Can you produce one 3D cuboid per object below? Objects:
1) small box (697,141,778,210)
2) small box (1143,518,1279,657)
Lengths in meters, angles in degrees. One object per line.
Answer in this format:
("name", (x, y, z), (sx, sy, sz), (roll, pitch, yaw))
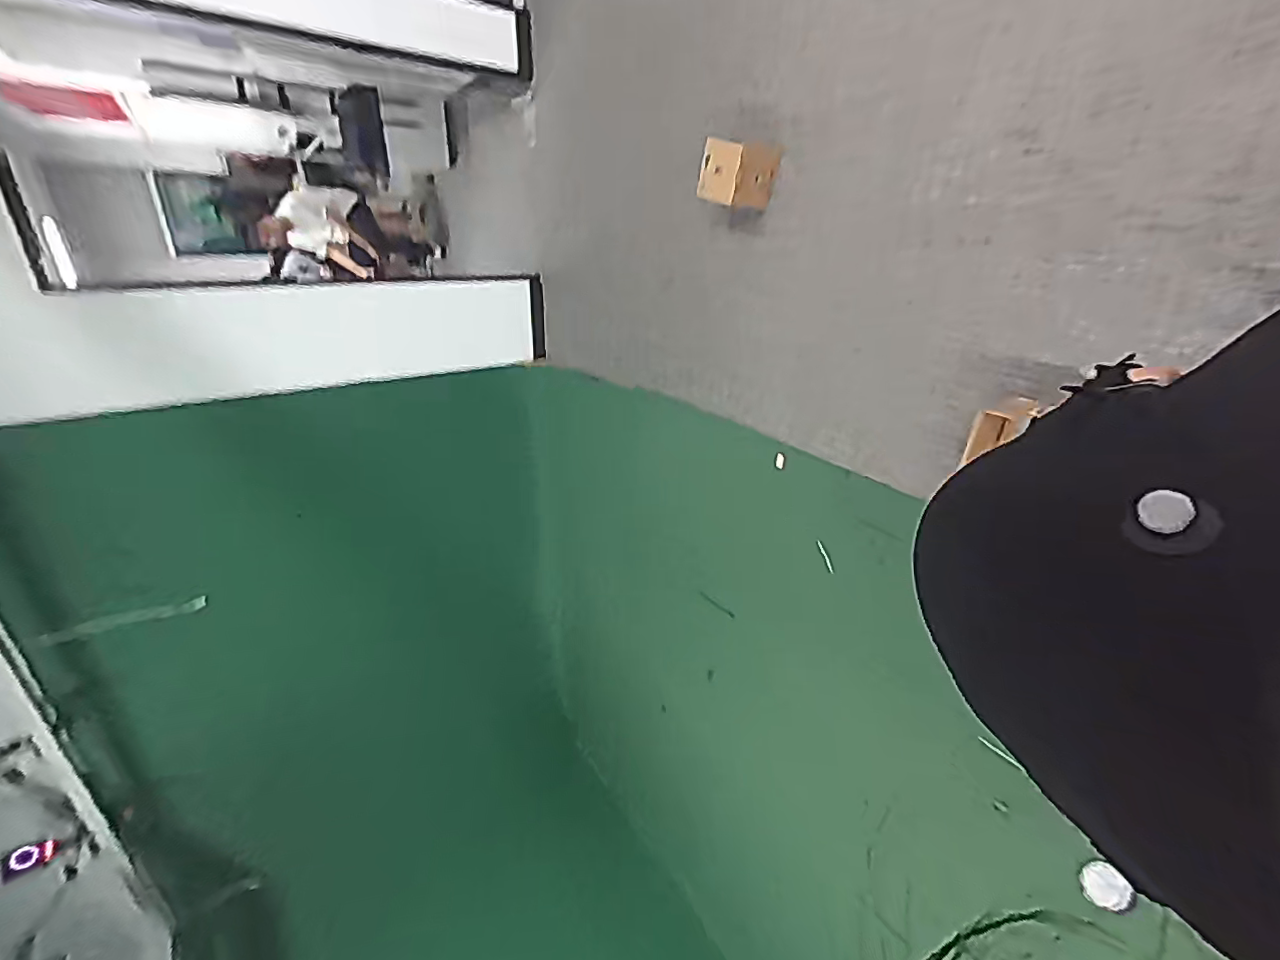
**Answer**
("small box", (0.316, -0.979, 1.743), (0.179, 0.176, 0.168), (43, 135, 38))
("small box", (1.087, 0.182, 0.990), (0.179, 0.176, 0.168), (31, 127, 46))
